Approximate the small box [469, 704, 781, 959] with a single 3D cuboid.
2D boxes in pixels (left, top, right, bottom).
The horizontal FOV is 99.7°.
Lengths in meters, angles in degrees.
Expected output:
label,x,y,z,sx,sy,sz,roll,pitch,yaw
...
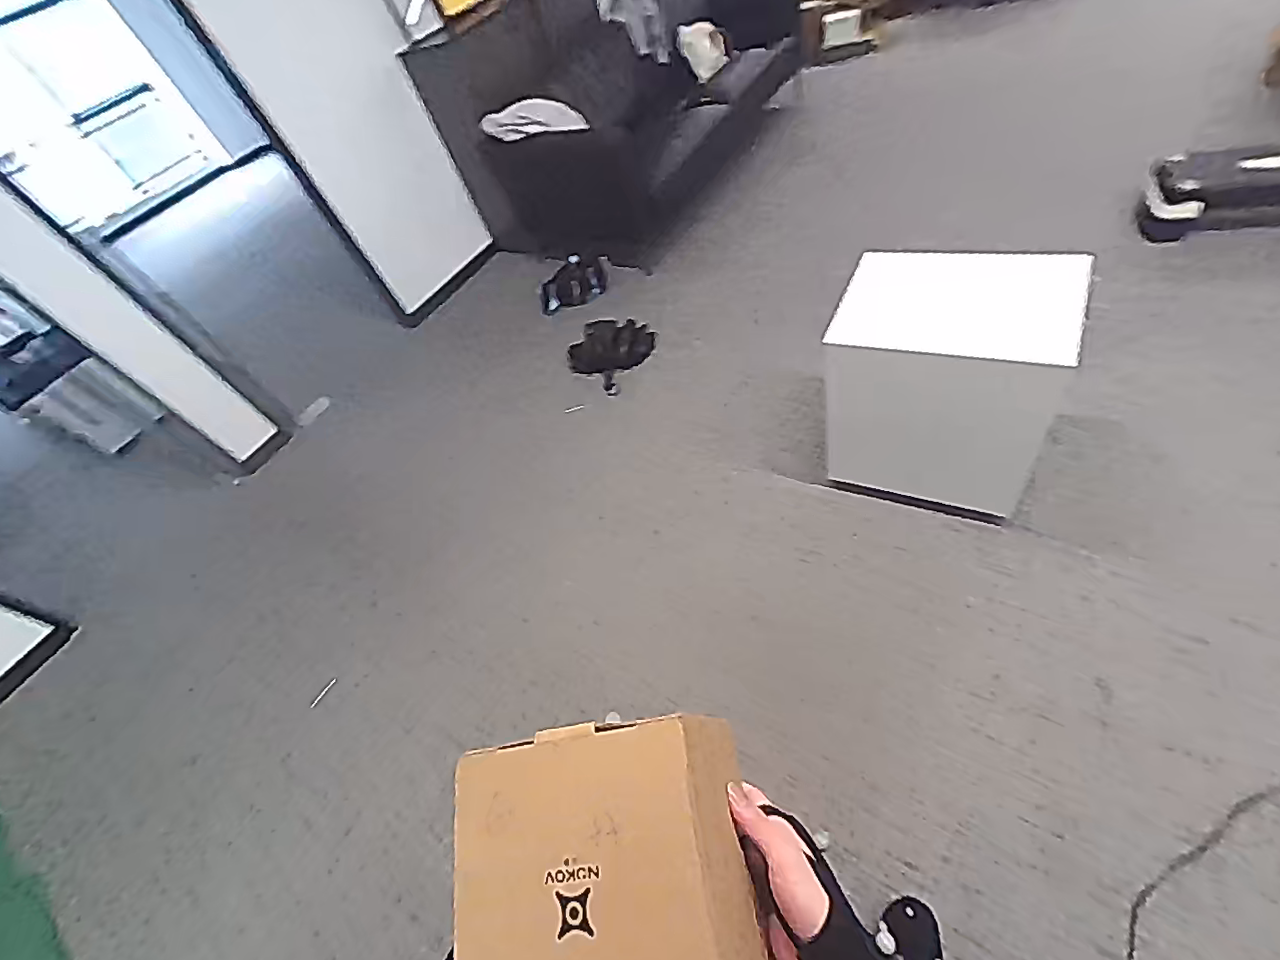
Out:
label,x,y,z,sx,sy,sz,roll,pitch,yaw
small box,-0.004,0.273,0.392,0.168,0.176,0.179,-16,61,13
